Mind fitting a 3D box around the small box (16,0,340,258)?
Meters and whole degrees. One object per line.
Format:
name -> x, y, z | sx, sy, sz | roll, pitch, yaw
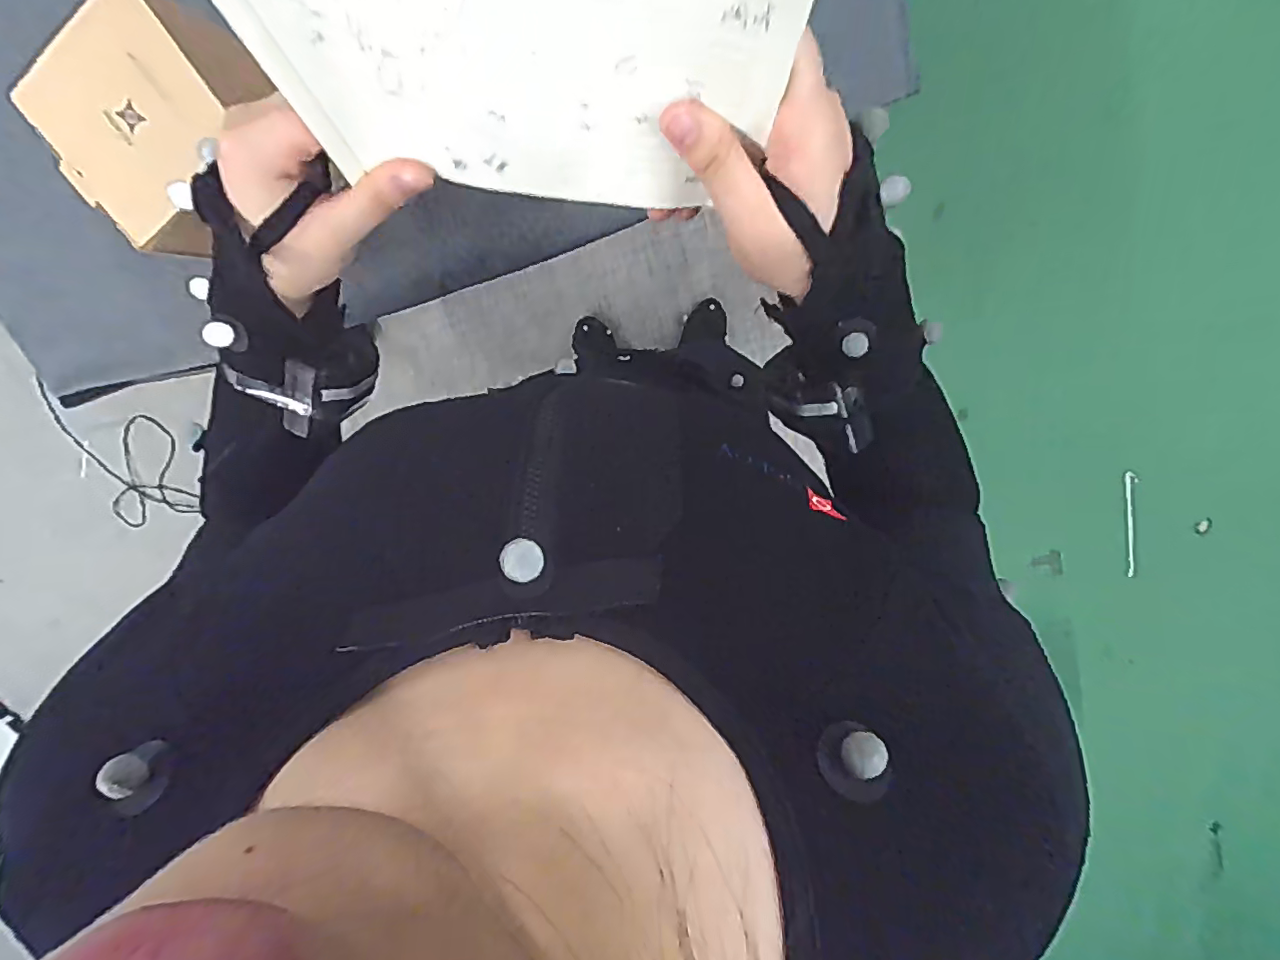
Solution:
small box -> -0.481, -0.366, 0.593 | 0.179, 0.176, 0.168 | -32, 104, 13
